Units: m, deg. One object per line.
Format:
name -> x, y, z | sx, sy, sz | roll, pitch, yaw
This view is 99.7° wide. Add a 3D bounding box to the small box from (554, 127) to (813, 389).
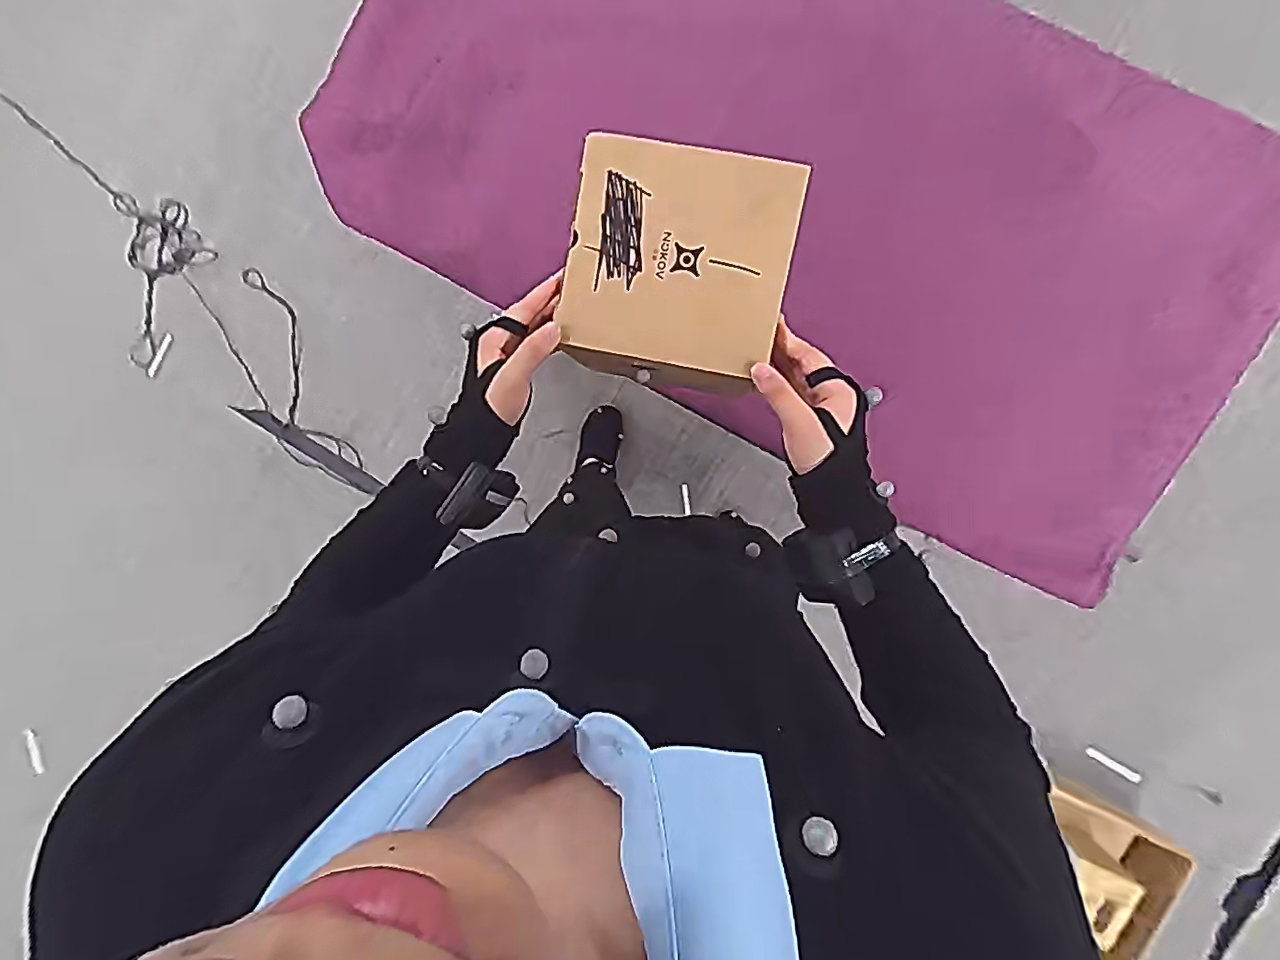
small box -> 0.038, -0.184, 0.500 | 0.179, 0.176, 0.168 | 12, 95, 4
